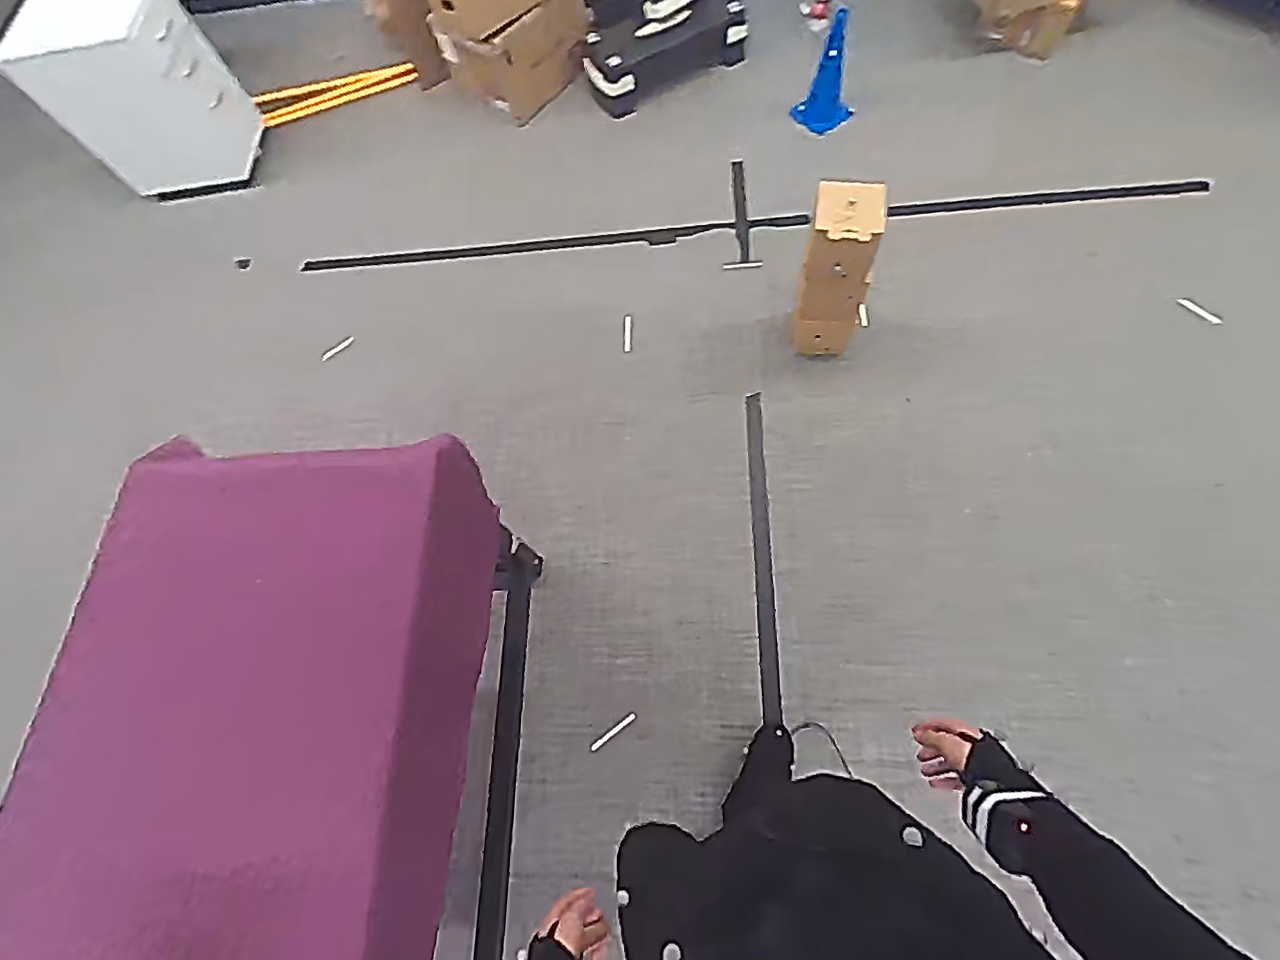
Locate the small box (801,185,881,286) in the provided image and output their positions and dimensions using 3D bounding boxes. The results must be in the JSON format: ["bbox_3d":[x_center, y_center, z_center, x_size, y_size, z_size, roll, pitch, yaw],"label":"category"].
[{"bbox_3d":[0.532,-0.651,1.444,0.168,0.176,0.179,8,69,9],"label":"small box"}]

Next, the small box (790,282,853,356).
[{"bbox_3d":[0.579,-0.515,1.741,0.168,0.176,0.179,2,68,7],"label":"small box"}]
